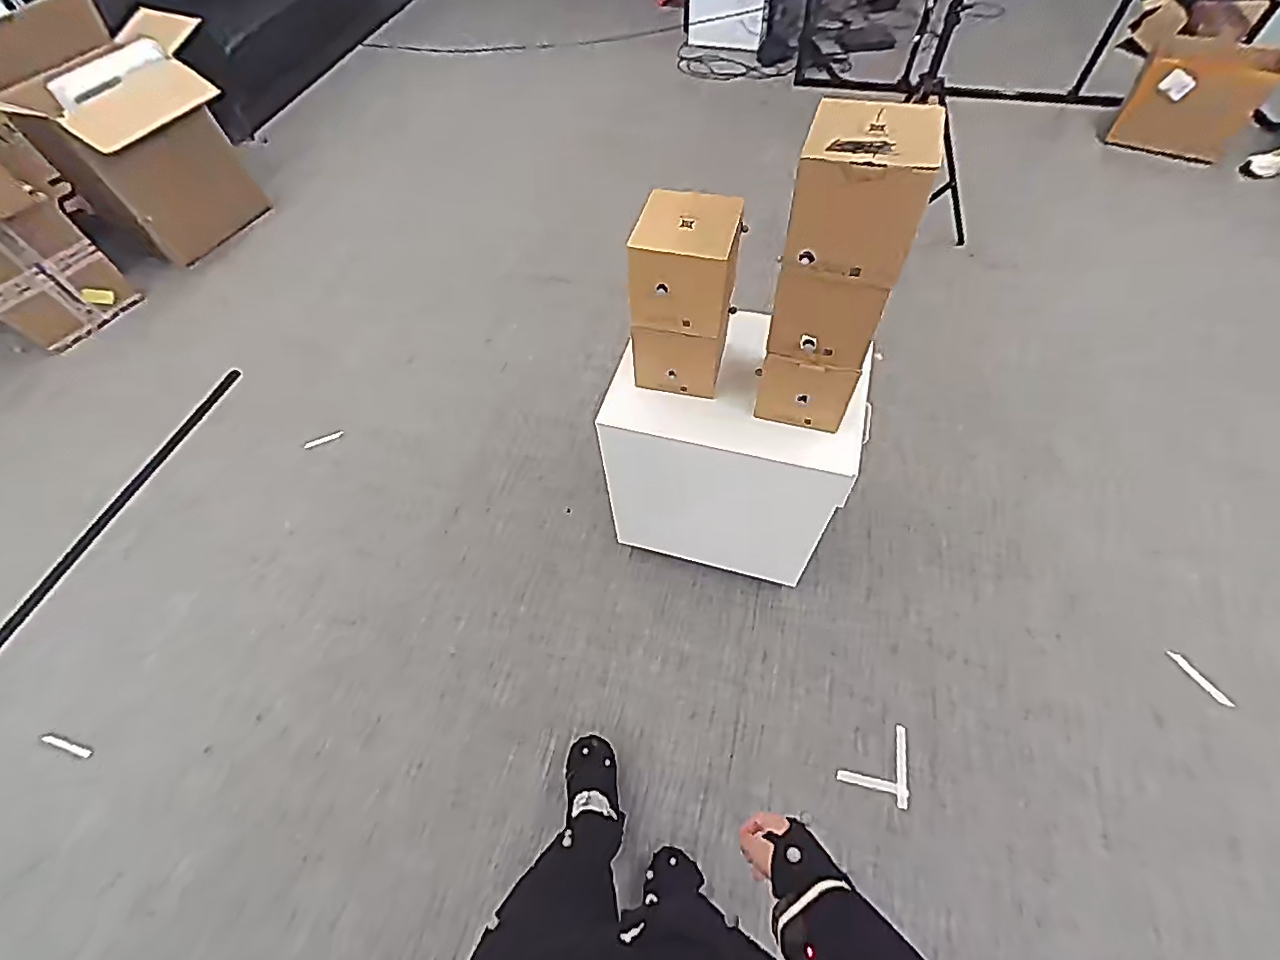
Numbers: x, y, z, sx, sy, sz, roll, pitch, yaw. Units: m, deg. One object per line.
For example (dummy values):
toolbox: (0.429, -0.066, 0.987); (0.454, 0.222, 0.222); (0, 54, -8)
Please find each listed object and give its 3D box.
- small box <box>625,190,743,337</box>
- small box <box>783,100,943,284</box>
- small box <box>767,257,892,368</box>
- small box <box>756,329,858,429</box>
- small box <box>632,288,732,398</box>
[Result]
small box: (0.080, -0.380, 0.958); (0.168, 0.176, 0.179); (12, 58, 10)
small box: (0.307, -0.404, 0.766); (0.168, 0.176, 0.179); (14, 58, 14)
small box: (0.316, -0.318, 0.906); (0.168, 0.176, 0.179); (13, 60, 13)
small box: (0.322, -0.222, 1.039); (0.168, 0.176, 0.179); (13, 60, 13)
small box: (0.085, -0.296, 1.098); (0.168, 0.176, 0.179); (11, 59, 10)
